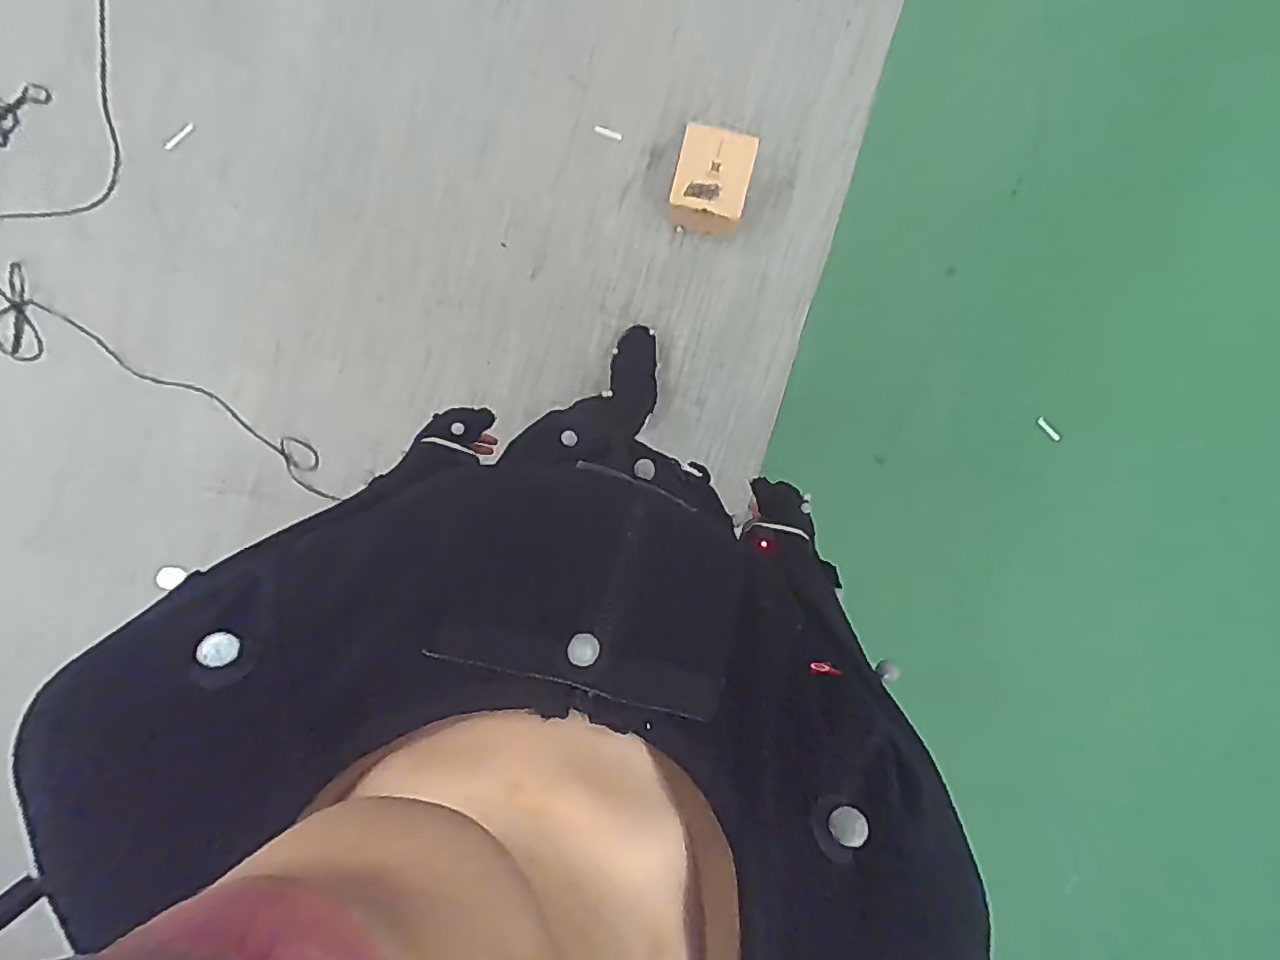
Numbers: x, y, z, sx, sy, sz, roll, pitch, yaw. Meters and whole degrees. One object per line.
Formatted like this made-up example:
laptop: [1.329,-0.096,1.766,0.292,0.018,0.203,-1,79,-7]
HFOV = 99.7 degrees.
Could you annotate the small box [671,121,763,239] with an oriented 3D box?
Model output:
small box: [0.173,-0.691,1.269,0.168,0.176,0.179,14,98,0]
